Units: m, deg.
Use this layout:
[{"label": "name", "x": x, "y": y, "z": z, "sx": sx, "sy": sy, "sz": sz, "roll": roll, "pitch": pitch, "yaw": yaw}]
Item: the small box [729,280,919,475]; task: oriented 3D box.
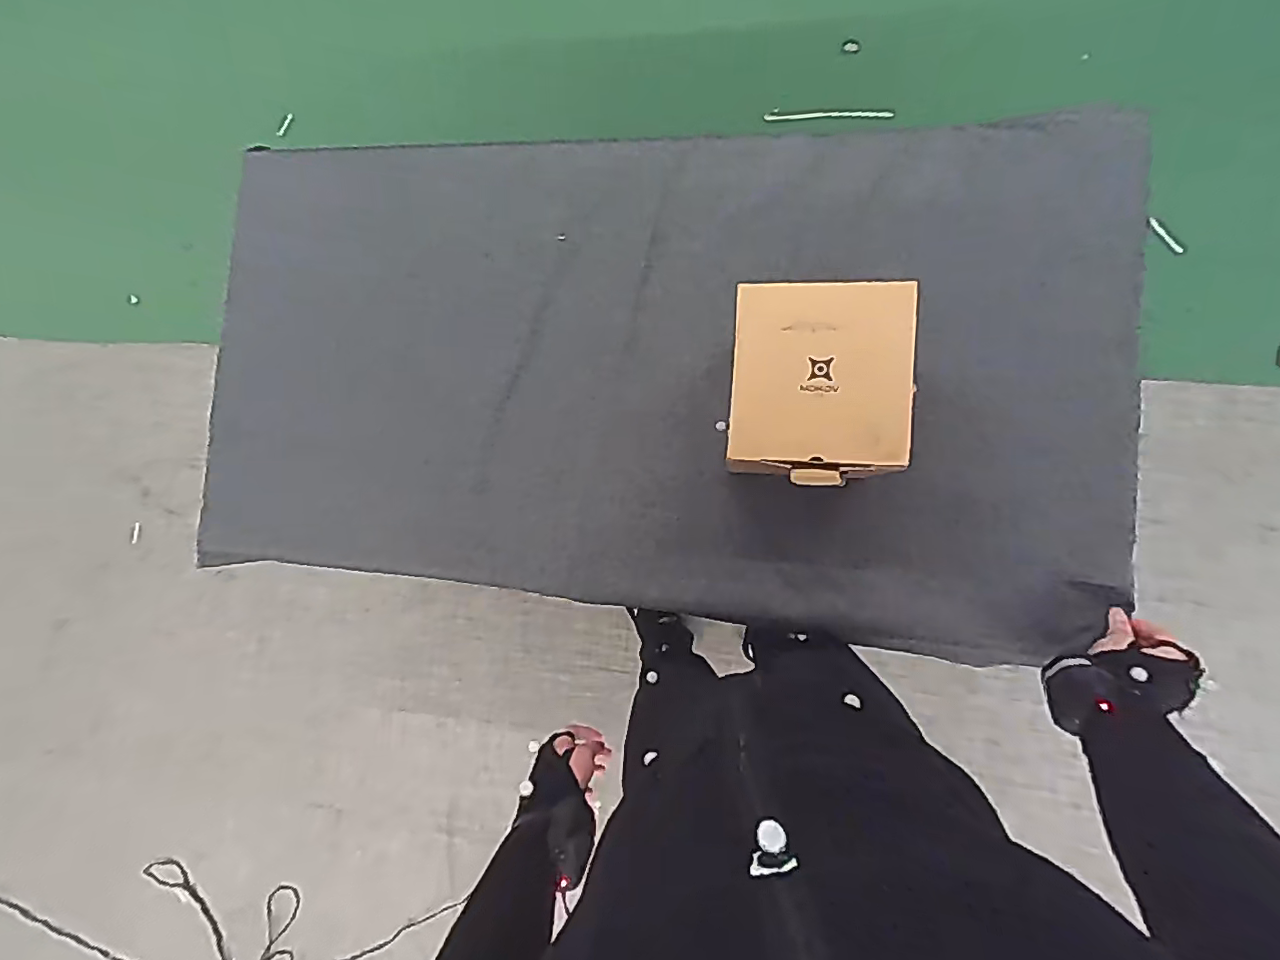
[{"label": "small box", "x": 0.187, "y": -0.099, "z": 0.590, "sx": 0.168, "sy": 0.176, "sz": 0.179, "roll": 3, "pitch": 86, "yaw": 10}]
